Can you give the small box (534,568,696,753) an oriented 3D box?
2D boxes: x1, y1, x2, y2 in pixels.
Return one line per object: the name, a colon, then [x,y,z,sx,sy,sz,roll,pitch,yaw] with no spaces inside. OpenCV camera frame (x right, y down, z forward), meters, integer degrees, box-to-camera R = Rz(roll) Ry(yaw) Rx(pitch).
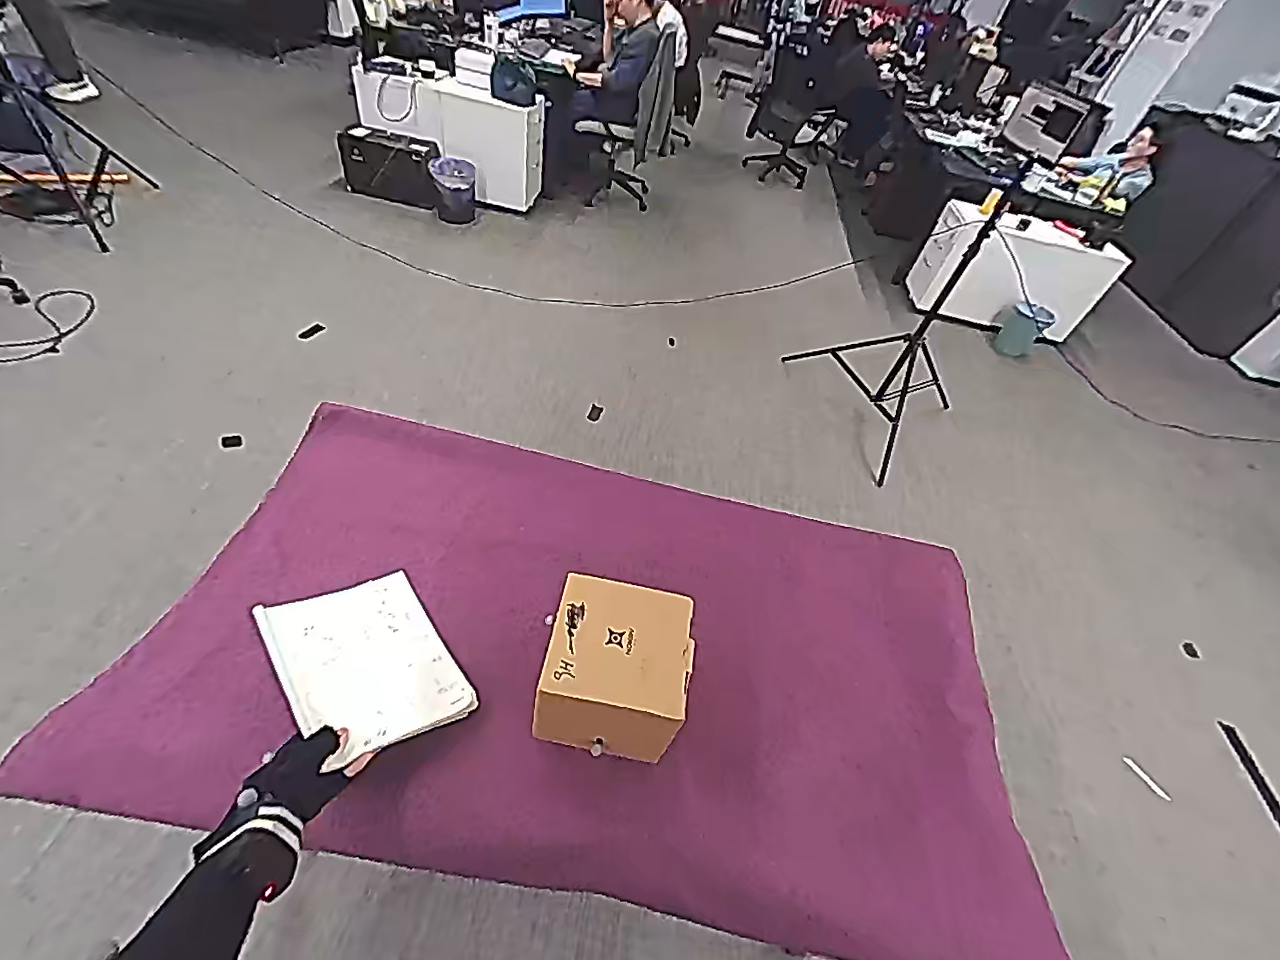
small box: [-0.035,0.248,0.729,0.179,0.176,0.168,13,45,-2]
